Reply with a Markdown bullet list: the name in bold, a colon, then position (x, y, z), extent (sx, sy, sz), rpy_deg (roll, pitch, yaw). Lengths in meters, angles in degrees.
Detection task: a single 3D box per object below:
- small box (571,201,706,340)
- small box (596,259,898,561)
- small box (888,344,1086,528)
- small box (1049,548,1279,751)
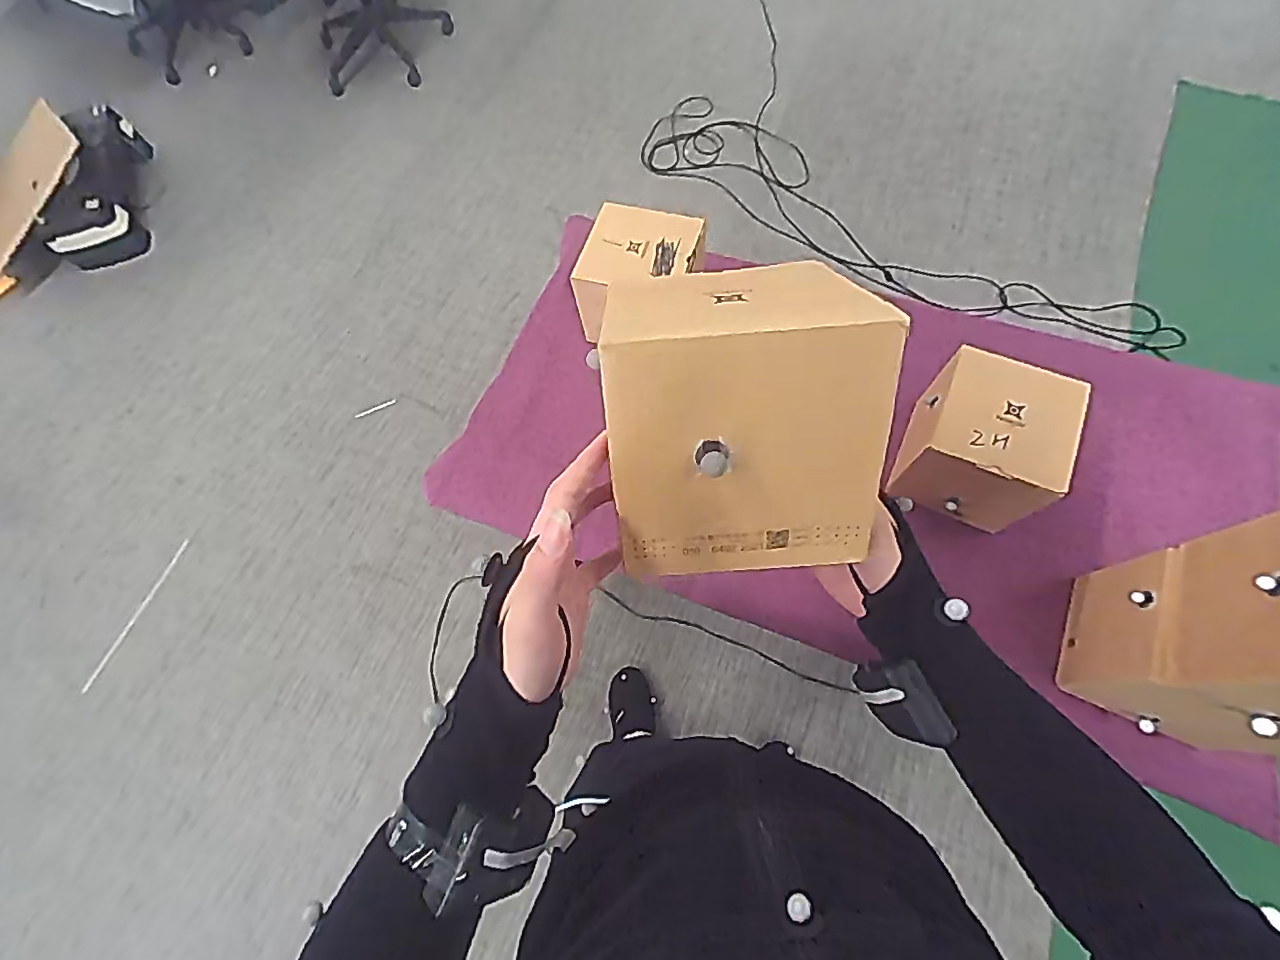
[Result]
- **small box**: position (0.005, -0.337, 0.926), extent (0.179, 0.176, 0.168), rpy_deg (16, 71, 11)
- **small box**: position (0.065, -0.053, 0.399), extent (0.168, 0.176, 0.179), rpy_deg (-4, 31, 2)
- **small box**: position (0.485, -0.056, 0.780), extent (0.168, 0.176, 0.179), rpy_deg (24, 73, 13)
- **small box**: position (0.658, 0.208, 0.661), extent (0.179, 0.176, 0.168), rpy_deg (23, 71, 13)
